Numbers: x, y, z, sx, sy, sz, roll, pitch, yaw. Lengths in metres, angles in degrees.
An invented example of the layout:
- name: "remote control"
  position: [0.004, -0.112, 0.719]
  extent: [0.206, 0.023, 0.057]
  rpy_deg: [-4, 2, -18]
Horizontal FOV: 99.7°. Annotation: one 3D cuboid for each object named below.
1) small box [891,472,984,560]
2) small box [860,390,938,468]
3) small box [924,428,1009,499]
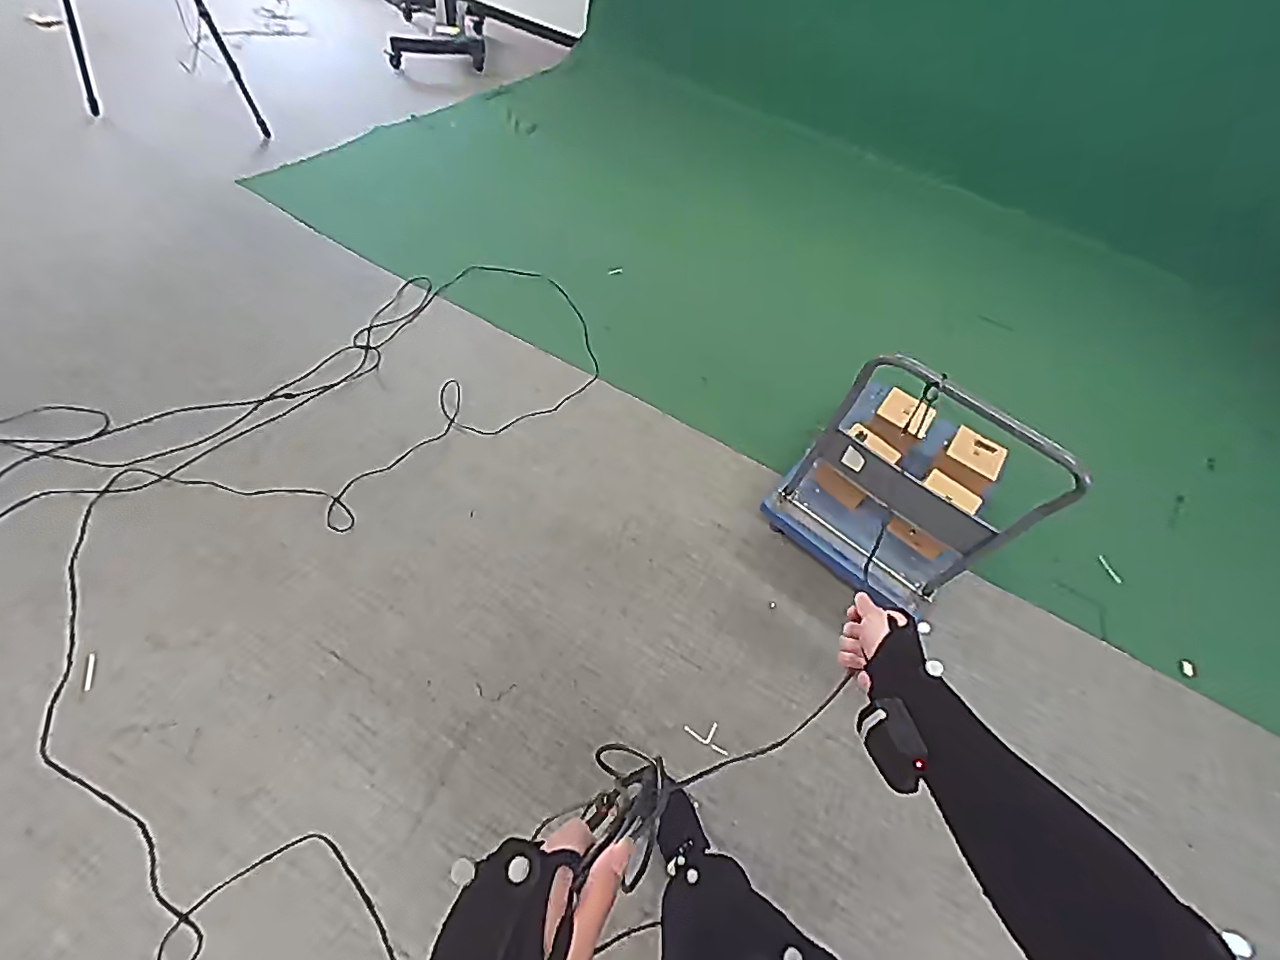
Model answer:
- name: "small box"
  position: [0.924, 0.115, 1.693]
  extent: [0.168, 0.176, 0.179]
  rpy_deg: [39, 58, 18]
- name: "small box"
  position: [0.902, -0.174, 1.900]
  extent: [0.168, 0.176, 0.179]
  rpy_deg: [36, 56, 15]
- name: "small box"
  position: [1.100, -0.036, 1.832]
  extent: [0.168, 0.176, 0.179]
  rpy_deg: [35, 57, 17]
